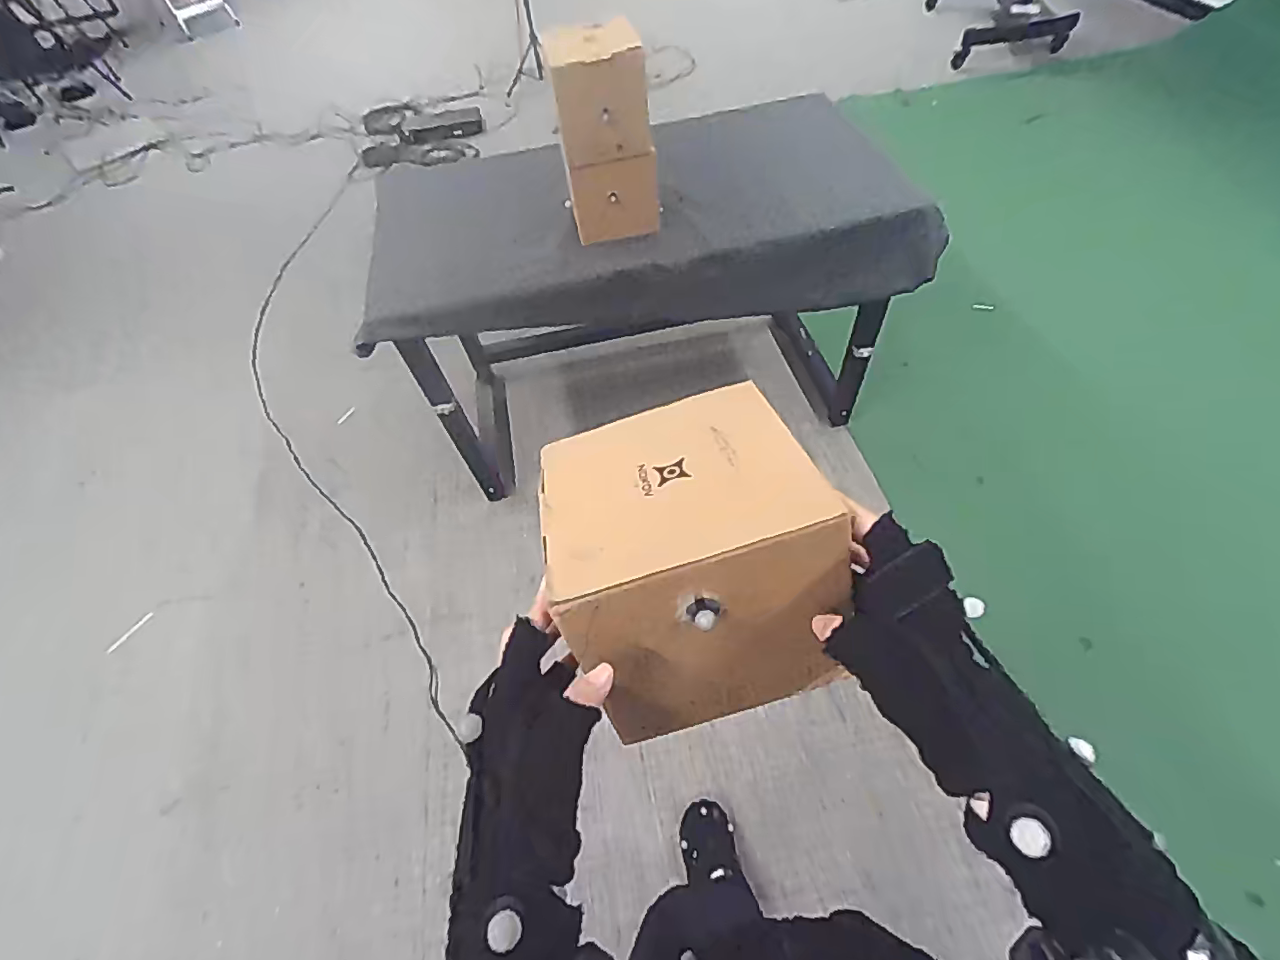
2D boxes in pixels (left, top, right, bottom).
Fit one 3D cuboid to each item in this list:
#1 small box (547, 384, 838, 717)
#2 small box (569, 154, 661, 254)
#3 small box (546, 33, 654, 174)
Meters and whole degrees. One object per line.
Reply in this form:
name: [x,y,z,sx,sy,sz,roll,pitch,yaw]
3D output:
small box: [0.039,0.055,0.421,0.179,0.176,0.168,-16,37,0]
small box: [-0.054,-0.618,1.169,0.179,0.176,0.168,-12,54,-1]
small box: [-0.073,-0.711,1.036,0.168,0.176,0.179,-13,55,-2]
